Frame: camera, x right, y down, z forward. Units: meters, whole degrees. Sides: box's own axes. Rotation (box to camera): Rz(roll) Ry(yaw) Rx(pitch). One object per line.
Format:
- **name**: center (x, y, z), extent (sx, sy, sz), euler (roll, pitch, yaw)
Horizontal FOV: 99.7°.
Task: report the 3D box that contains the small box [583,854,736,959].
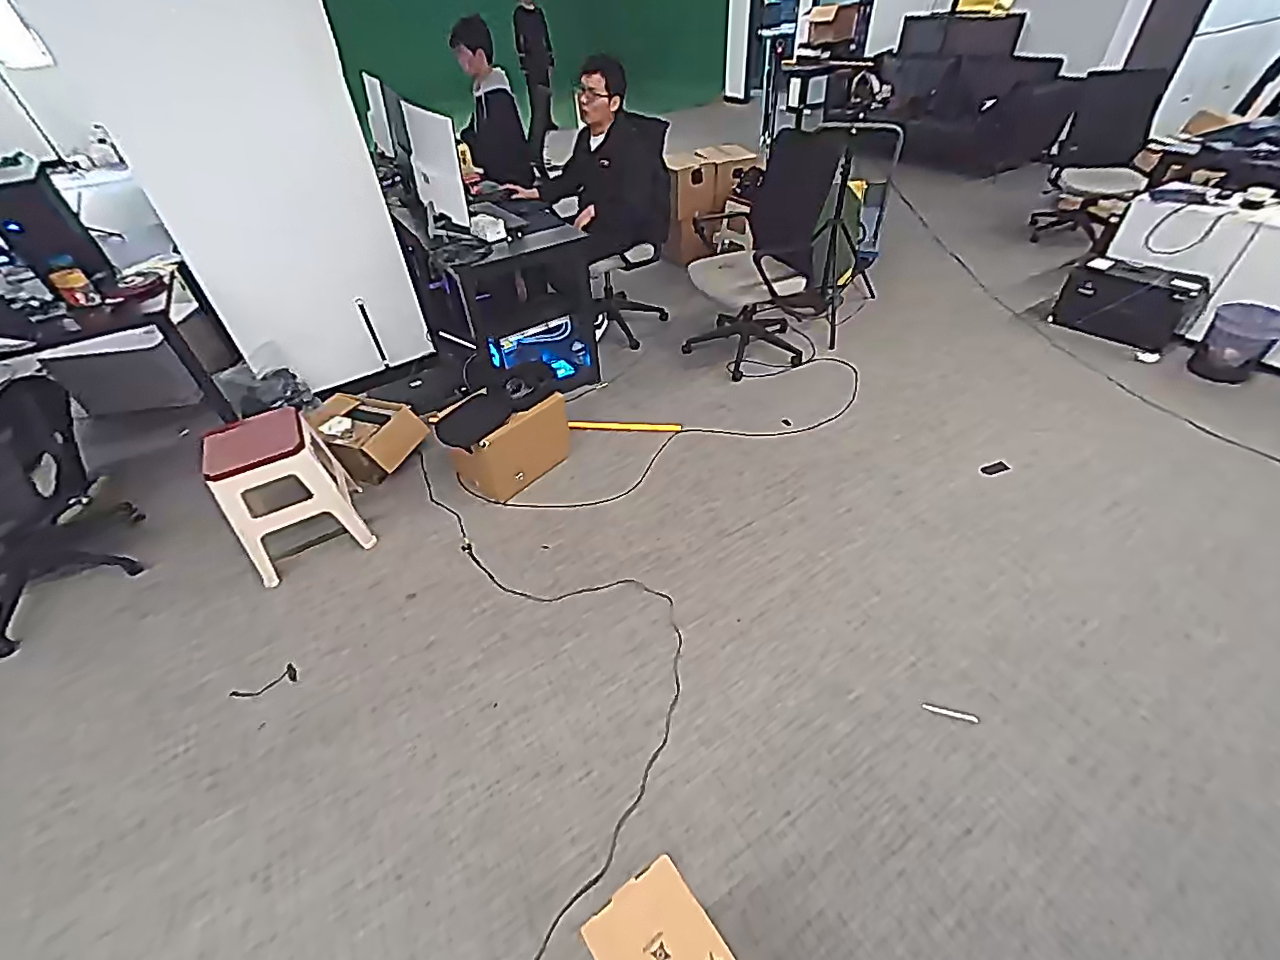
- **small box**: center (0.031, 0.737, 0.837), extent (0.168, 0.176, 0.179), euler (-28, 48, -24)
